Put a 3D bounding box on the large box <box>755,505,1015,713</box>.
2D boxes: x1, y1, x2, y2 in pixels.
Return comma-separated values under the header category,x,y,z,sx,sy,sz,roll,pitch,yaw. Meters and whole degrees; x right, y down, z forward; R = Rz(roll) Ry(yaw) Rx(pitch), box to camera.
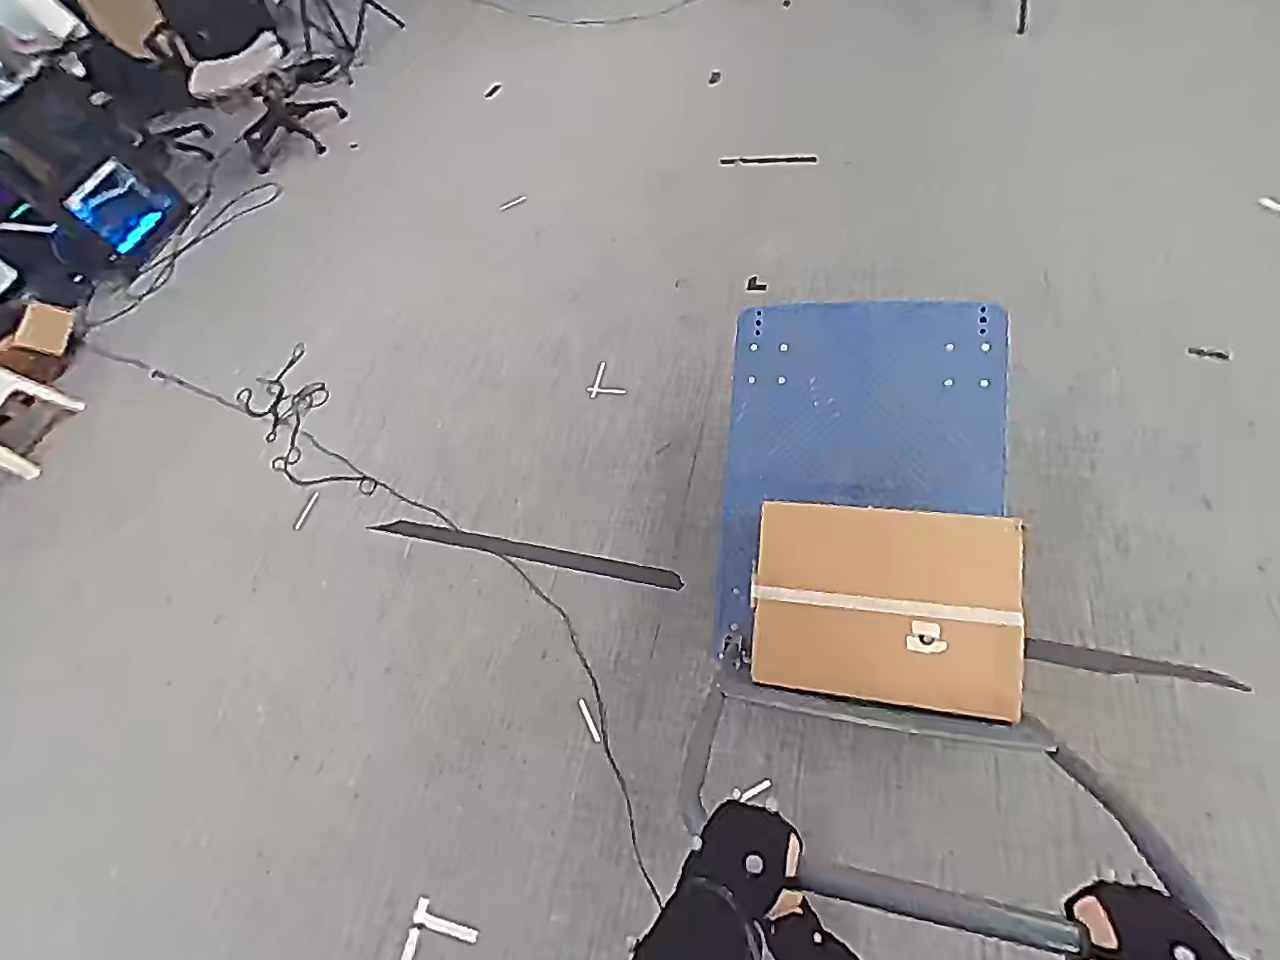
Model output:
category,x,y,z,sx,sy,sz,roll,pitch,yaw
large box,0.435,0.223,1.048,0.408,0.320,0.320,3,85,14
